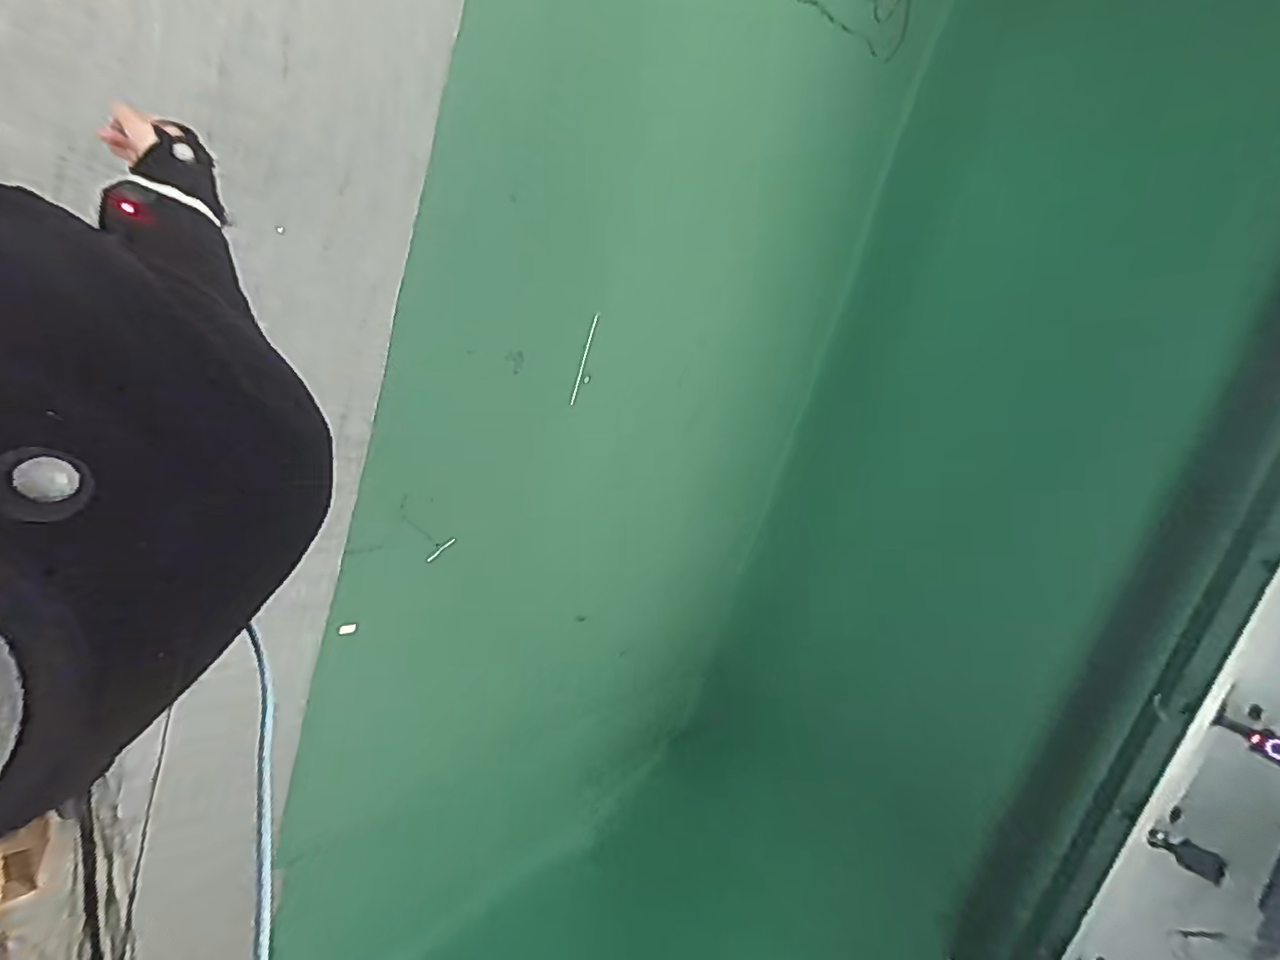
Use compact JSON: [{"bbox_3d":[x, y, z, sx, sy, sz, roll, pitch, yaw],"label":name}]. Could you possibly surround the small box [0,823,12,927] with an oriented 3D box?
[{"bbox_3d":[-1.246,0.748,0.946,0.168,0.176,0.179,10,101,-55],"label":"small box"}]
